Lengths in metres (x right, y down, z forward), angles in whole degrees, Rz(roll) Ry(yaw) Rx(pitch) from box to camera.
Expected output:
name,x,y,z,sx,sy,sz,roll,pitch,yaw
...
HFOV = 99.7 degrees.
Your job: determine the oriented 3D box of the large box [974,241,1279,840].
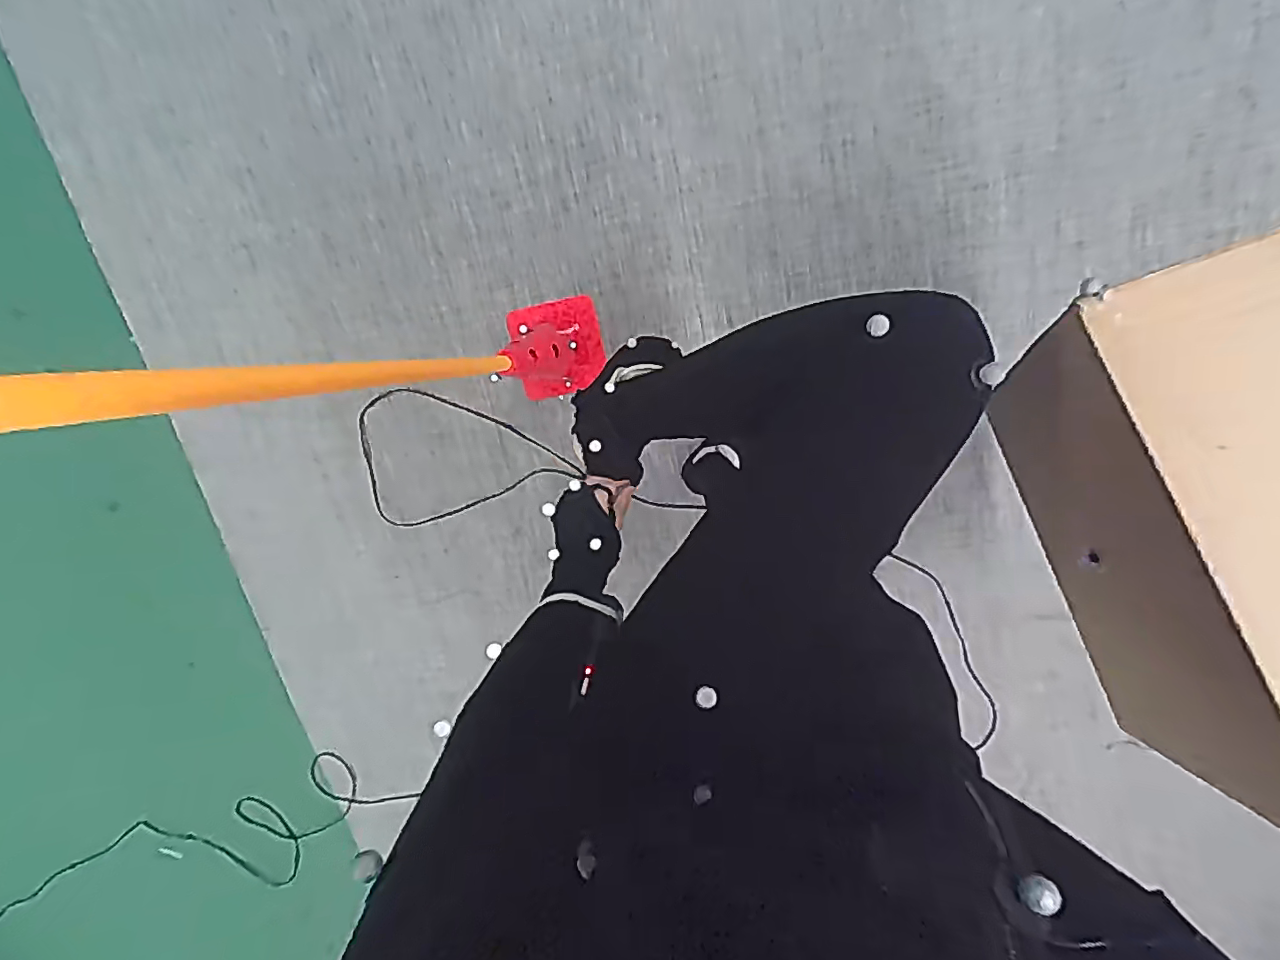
name,x,y,z,sx,sy,sz,roll,pitch,yaw
large box,0.565,0.034,0.481,0.320,0.320,0.408,-19,76,17
